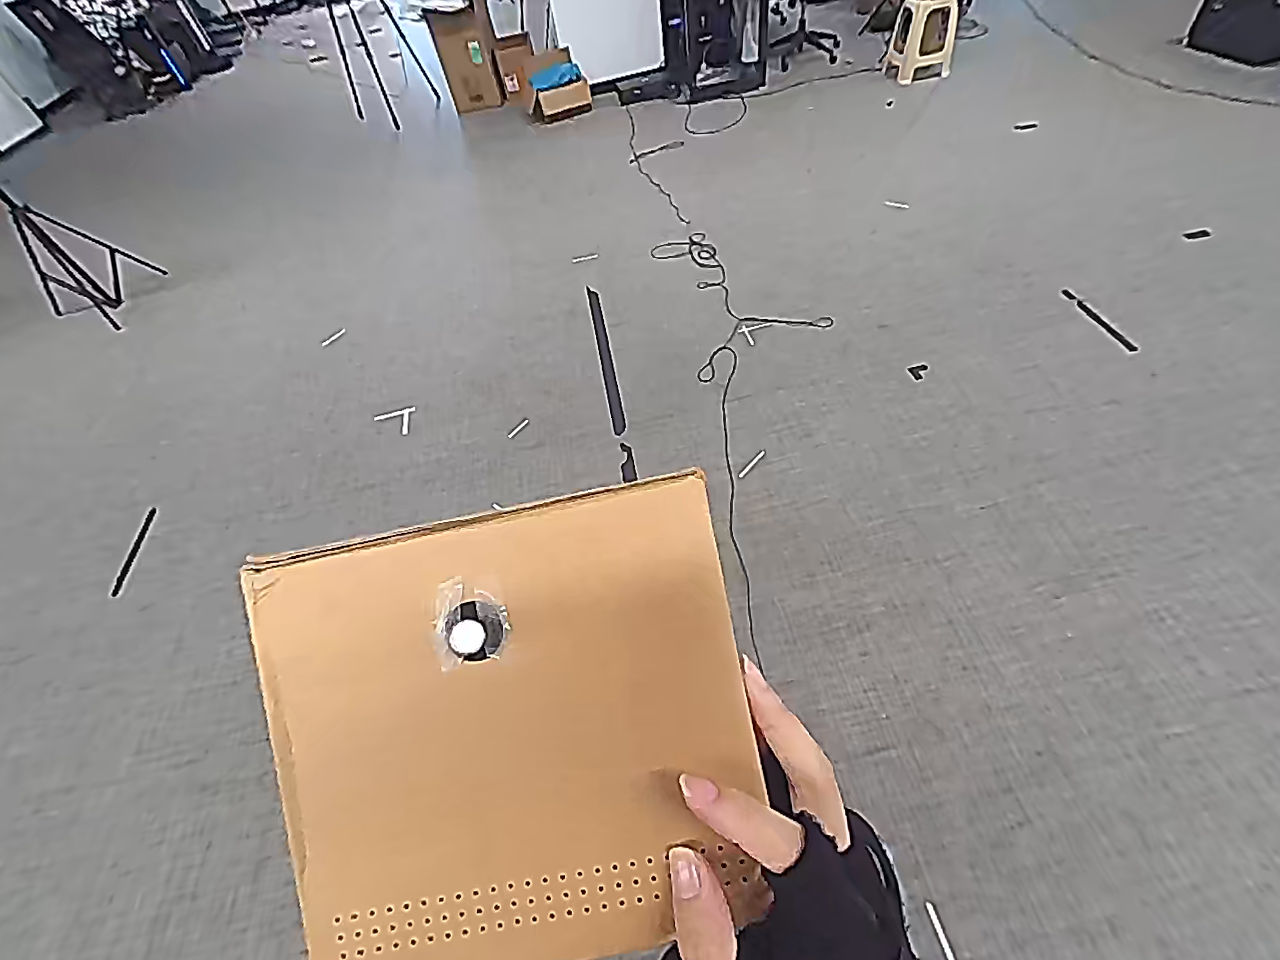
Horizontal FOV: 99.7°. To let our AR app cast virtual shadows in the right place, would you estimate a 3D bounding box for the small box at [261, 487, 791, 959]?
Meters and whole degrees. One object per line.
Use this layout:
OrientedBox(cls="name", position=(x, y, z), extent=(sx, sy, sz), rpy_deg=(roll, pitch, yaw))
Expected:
OrientedBox(cls="small box", position=(-0.041, 0.103, 0.276), extent=(0.179, 0.168, 0.176), rpy_deg=(-11, 89, 2))
